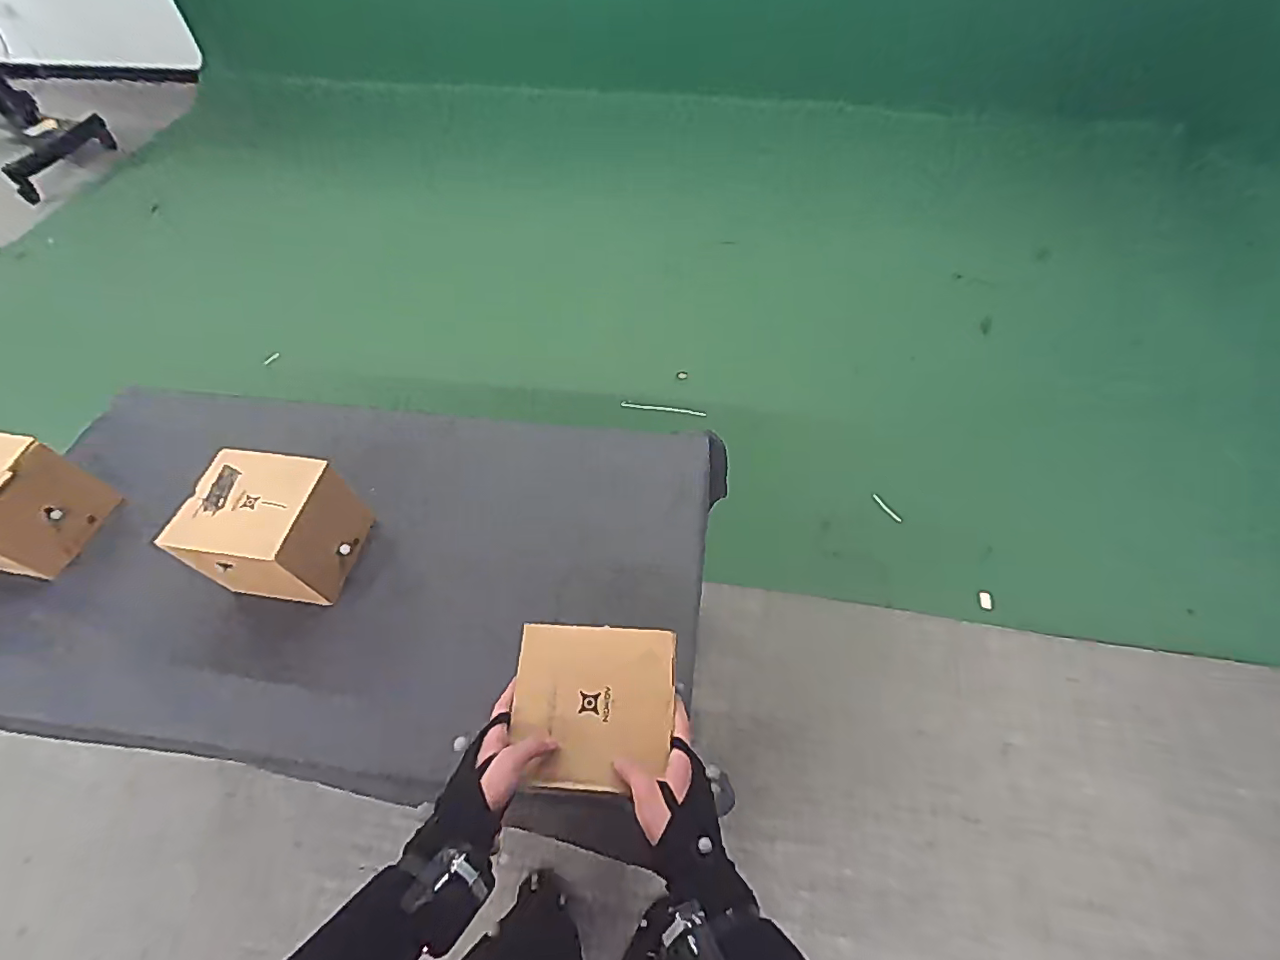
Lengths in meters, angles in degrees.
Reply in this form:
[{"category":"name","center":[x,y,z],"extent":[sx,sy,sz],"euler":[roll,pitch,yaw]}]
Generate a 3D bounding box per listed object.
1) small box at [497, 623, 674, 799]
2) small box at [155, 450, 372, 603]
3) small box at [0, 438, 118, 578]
[{"category":"small box","center":[-0.051,0.278,0.642],"extent":[0.179,0.176,0.168],"euler":[1,57,3]},{"category":"small box","center":[-0.555,0.075,0.827],"extent":[0.179,0.176,0.168],"euler":[7,58,5]},{"category":"small box","center":[-1.019,0.043,0.865],"extent":[0.179,0.176,0.168],"euler":[8,57,6]}]
